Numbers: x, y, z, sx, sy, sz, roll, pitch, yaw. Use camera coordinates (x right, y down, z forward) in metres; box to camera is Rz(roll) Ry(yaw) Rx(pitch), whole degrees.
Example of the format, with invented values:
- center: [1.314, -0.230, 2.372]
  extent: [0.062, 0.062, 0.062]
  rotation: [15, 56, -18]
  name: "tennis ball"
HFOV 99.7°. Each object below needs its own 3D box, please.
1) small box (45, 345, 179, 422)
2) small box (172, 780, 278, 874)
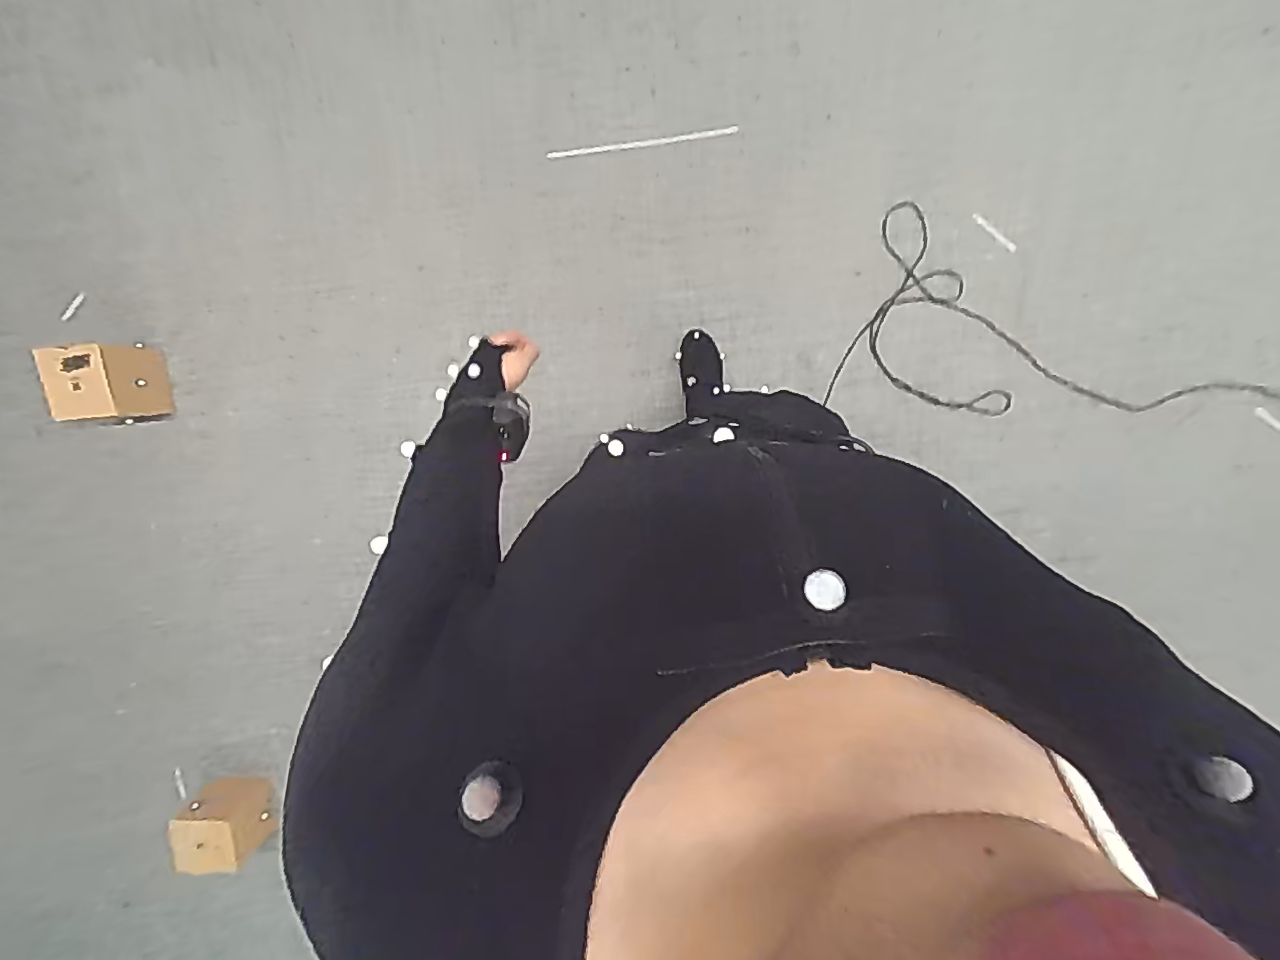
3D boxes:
- center: [-1.353, -0.246, 1.398]
  extent: [0.168, 0.176, 0.179]
  rotation: [-5, 99, 2]
  name: "small box"
- center: [-1.203, 1.004, 1.577]
  extent: [0.179, 0.176, 0.168]
  rotation: [0, 99, 2]
  name: "small box"
